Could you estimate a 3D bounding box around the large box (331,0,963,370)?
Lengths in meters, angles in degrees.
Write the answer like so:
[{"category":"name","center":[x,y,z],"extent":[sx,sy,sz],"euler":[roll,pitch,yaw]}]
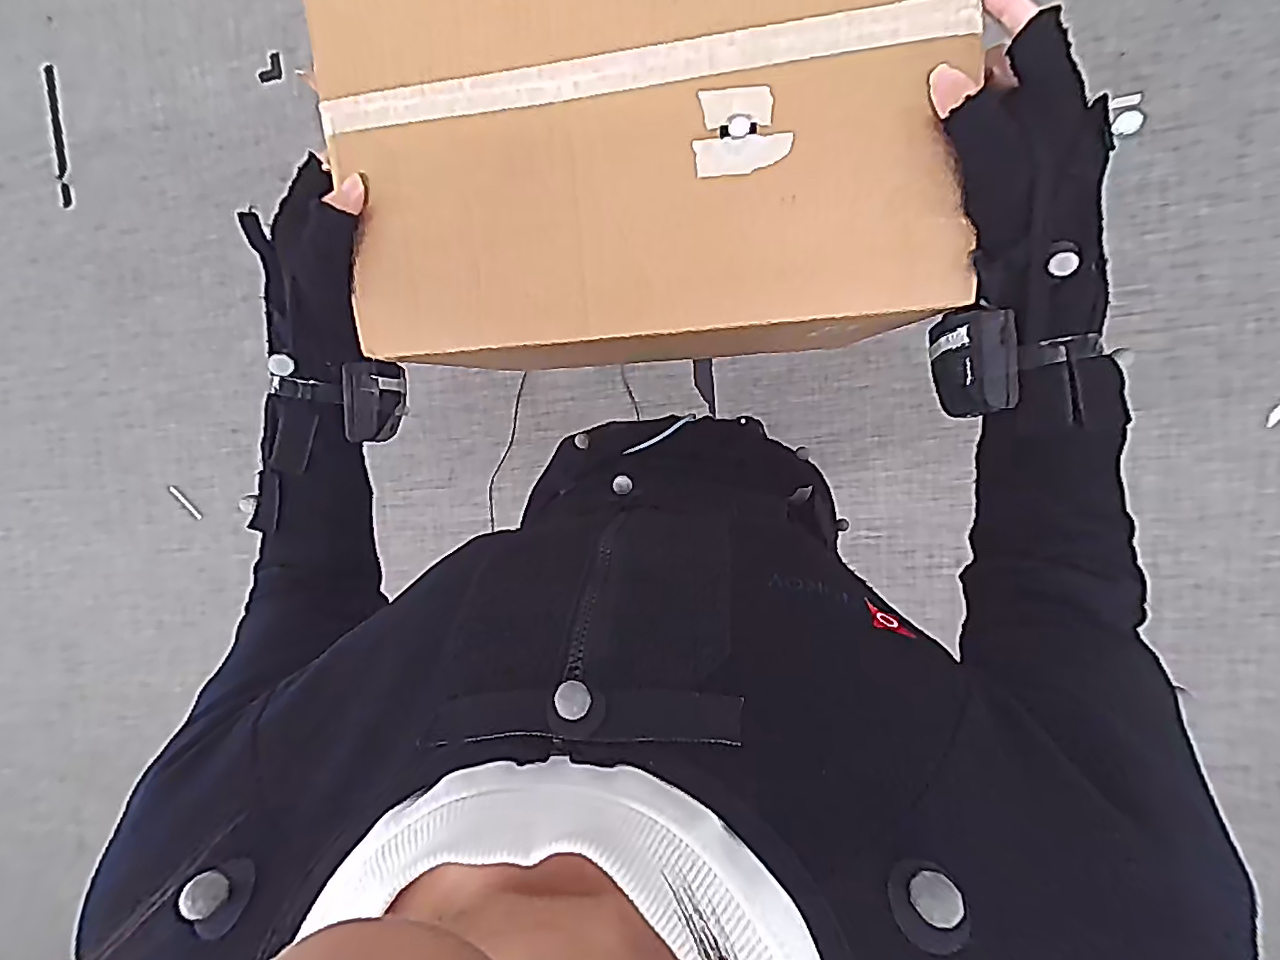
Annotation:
[{"category":"large box","center":[0.012,-0.280,0.493],"extent":[0.408,0.320,0.320],"euler":[-4,100,7]}]
